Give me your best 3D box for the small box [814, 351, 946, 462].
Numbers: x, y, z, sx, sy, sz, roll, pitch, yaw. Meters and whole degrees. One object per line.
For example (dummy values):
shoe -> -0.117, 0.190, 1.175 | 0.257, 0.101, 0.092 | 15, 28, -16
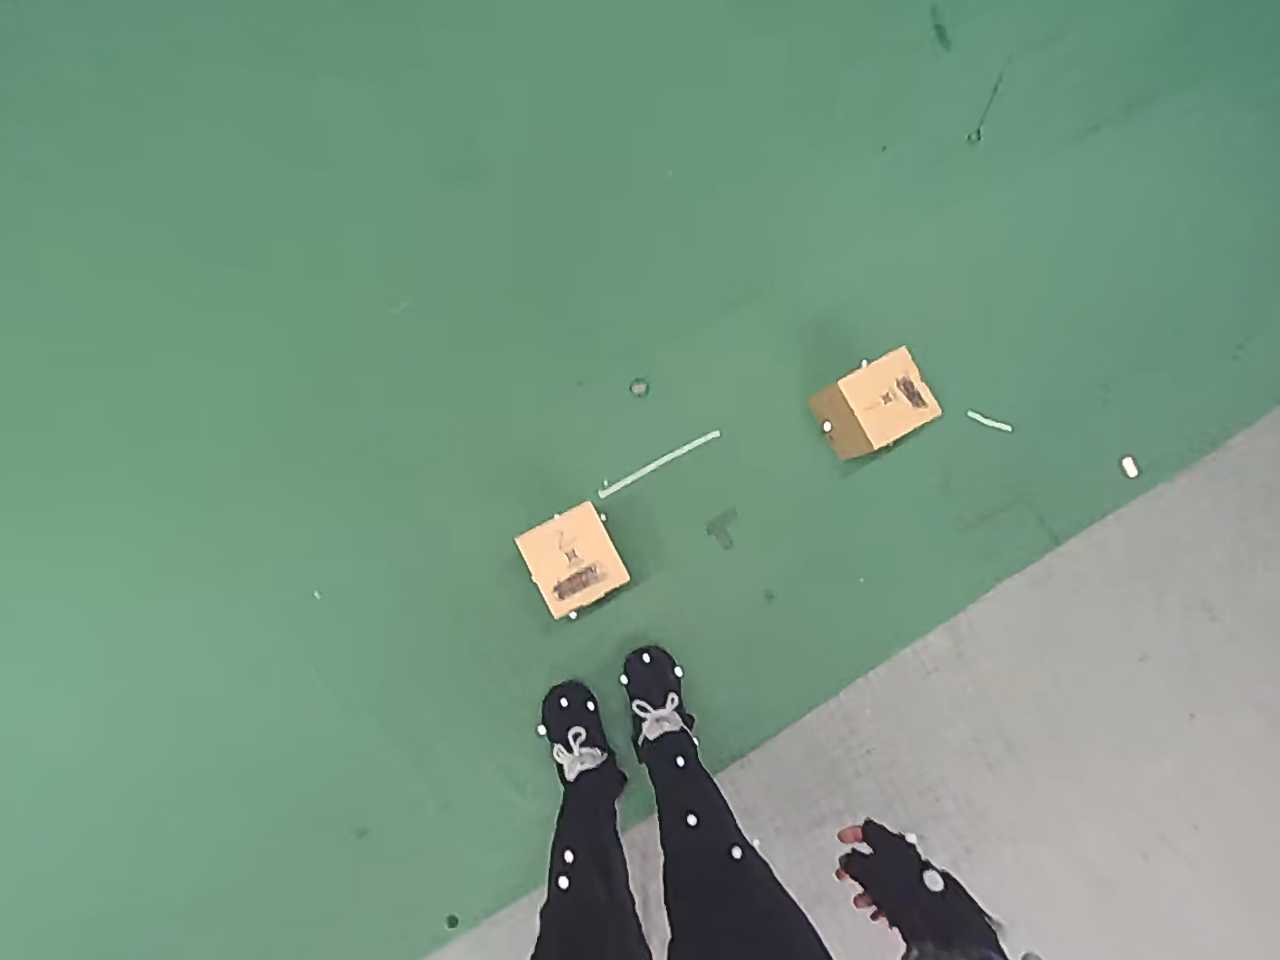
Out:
small box -> 0.521, -0.156, 1.198 | 0.179, 0.176, 0.168 | -28, 86, -6
